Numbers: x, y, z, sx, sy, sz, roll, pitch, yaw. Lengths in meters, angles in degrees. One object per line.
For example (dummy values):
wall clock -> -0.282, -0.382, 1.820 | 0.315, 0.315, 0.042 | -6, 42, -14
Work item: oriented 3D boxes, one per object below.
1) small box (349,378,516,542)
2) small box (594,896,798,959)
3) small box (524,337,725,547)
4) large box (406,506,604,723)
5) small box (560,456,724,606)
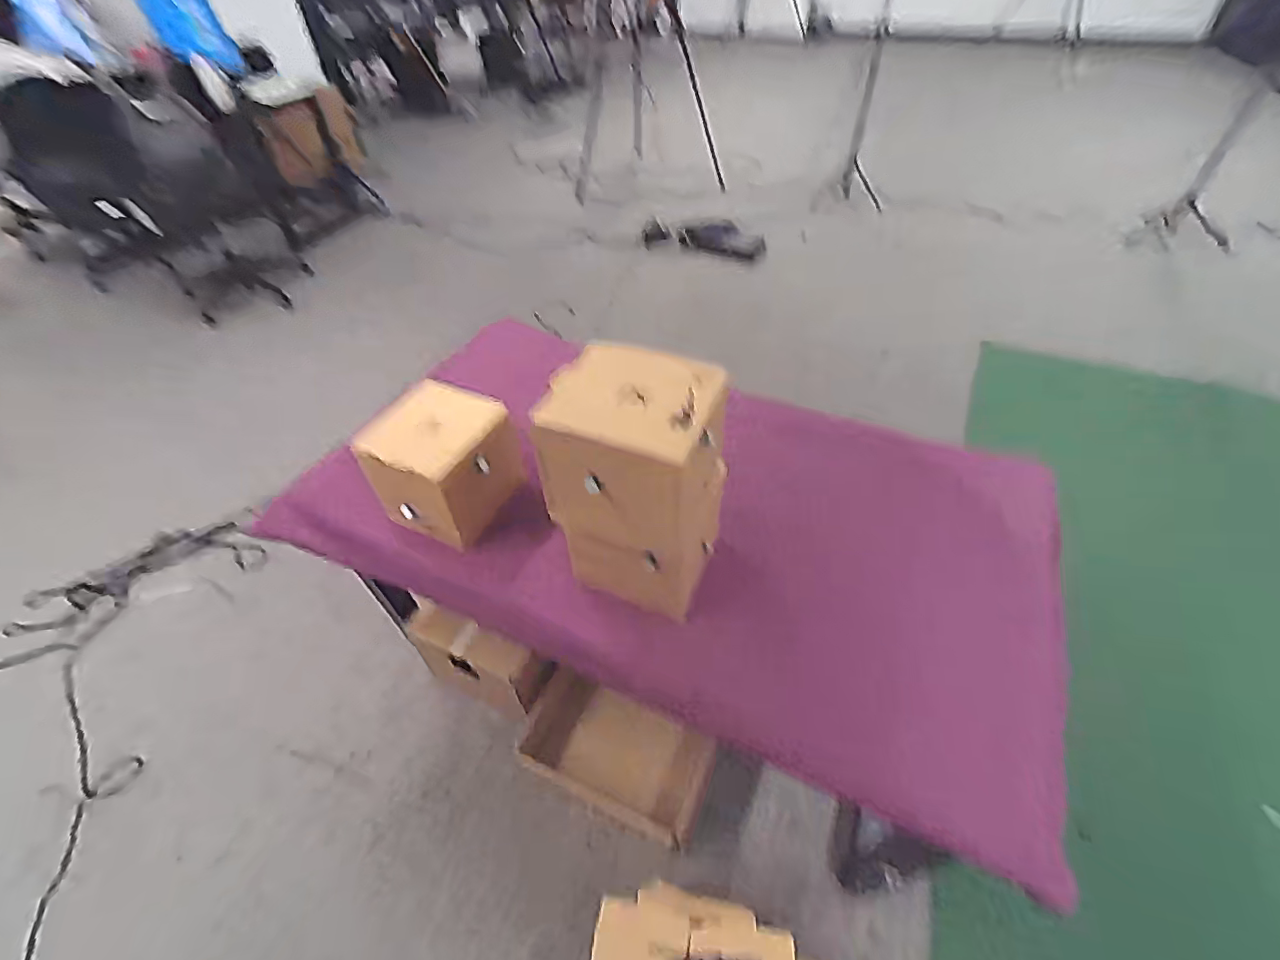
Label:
small box -> -0.319, -0.032, 0.875 | 0.168, 0.176, 0.179 | 18, 51, 18
small box -> 0.030, 0.481, 0.429 | 0.168, 0.176, 0.179 | 7, 35, 6
small box -> -0.010, -0.044, 0.646 | 0.179, 0.176, 0.168 | 15, 50, 17
large box -> -0.321, 0.348, 1.425 | 0.320, 0.320, 0.408 | 17, 52, 17
small box -> 0.007, 0.056, 0.775 | 0.179, 0.176, 0.168 | 16, 49, 18
